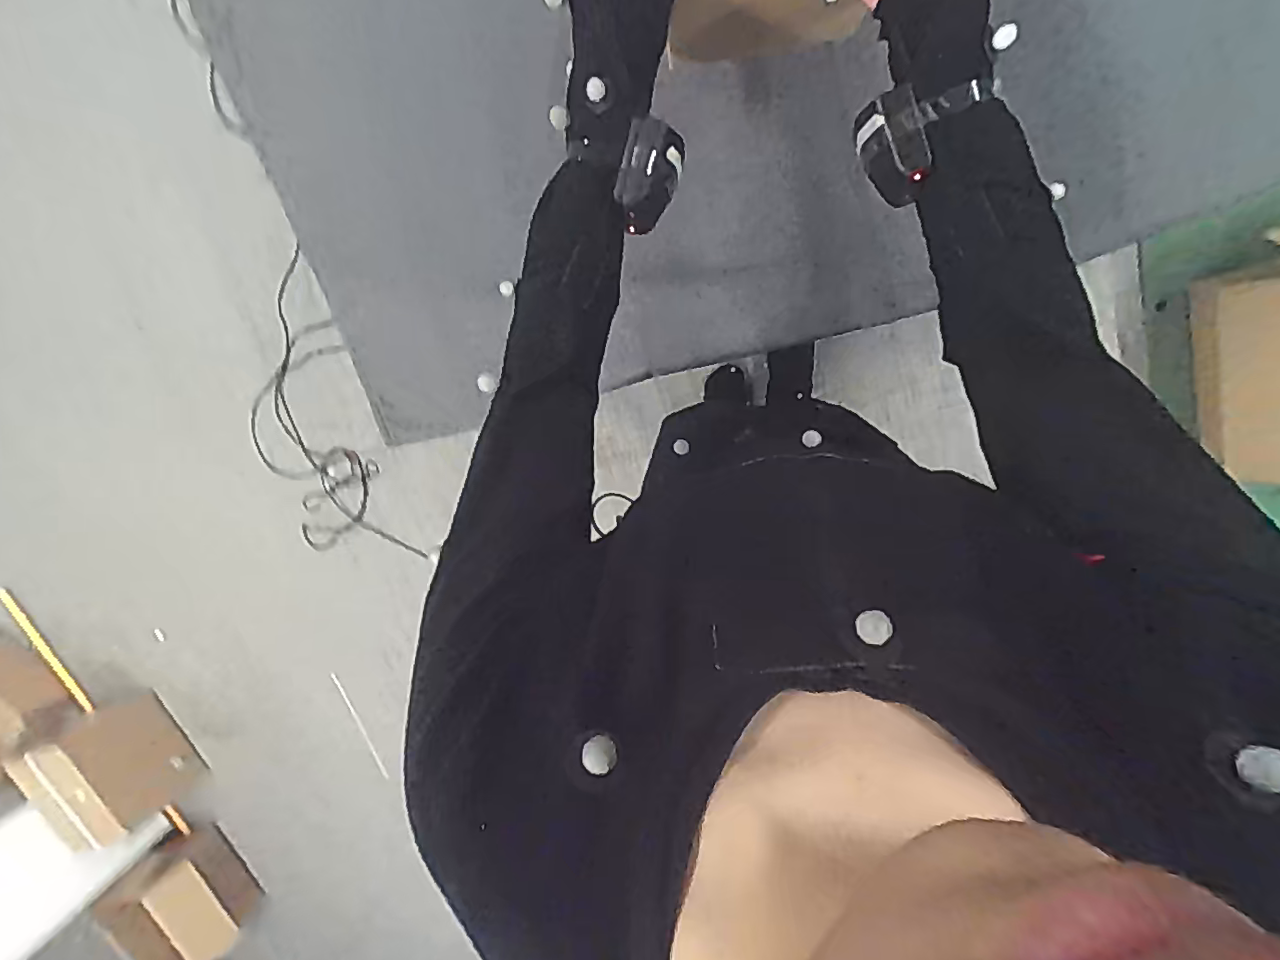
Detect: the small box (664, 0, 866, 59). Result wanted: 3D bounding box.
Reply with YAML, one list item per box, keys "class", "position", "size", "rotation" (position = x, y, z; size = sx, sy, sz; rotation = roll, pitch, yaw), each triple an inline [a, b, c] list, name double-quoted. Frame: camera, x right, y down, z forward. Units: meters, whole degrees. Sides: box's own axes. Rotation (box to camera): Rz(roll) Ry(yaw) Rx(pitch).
- class: "small box"
  position: [0.099, -0.459, 0.410]
  size: [0.179, 0.176, 0.168]
  rotation: [-5, 109, 9]
